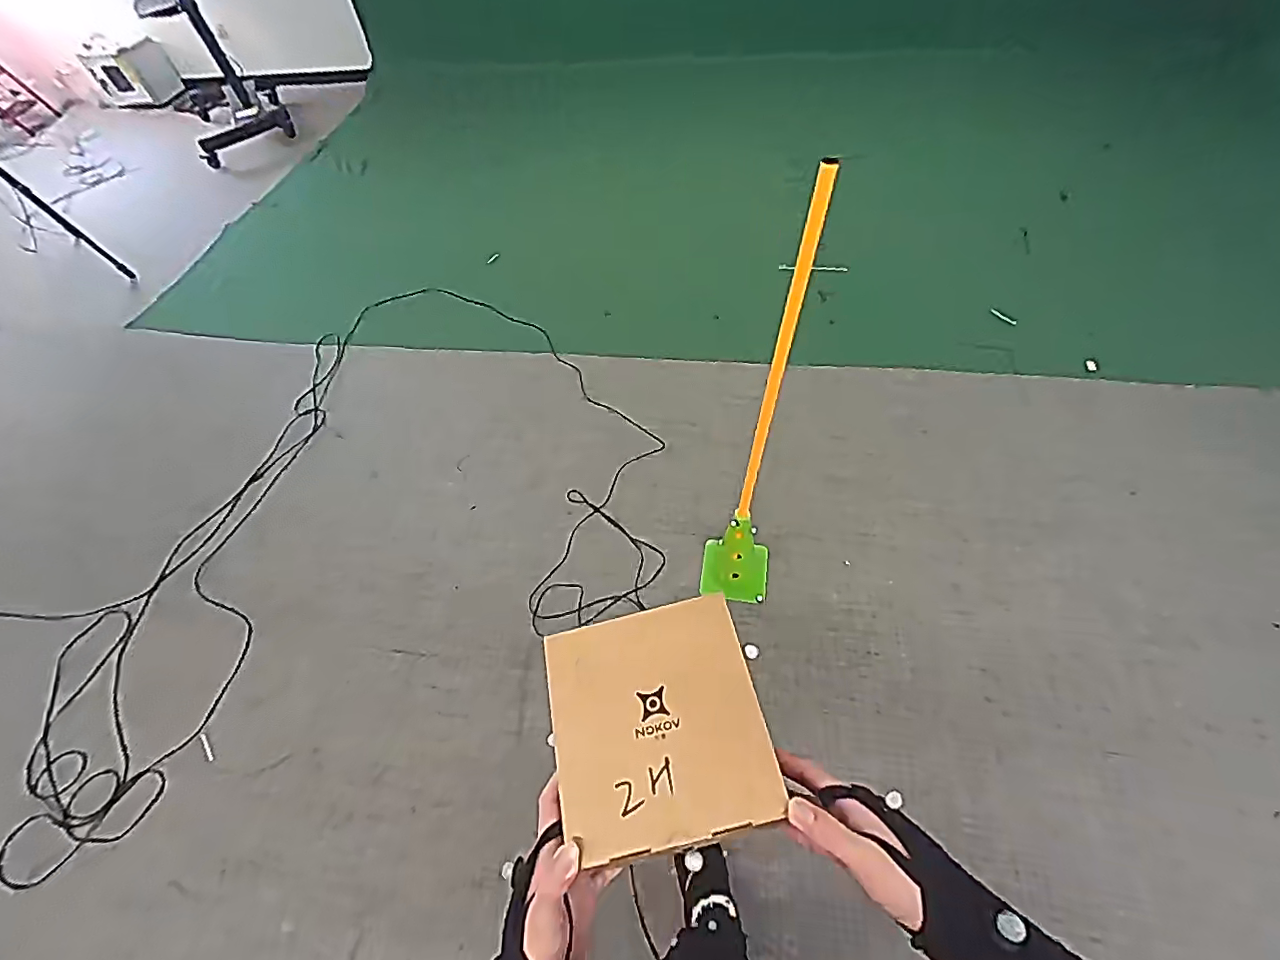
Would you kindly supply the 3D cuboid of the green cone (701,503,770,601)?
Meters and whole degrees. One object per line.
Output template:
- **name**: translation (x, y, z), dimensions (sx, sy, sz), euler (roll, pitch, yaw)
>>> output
- **green cone**: translation (0.281, 0.176, 1.545), dimensions (0.202, 0.368, 0.200), euler (5, 55, 11)
